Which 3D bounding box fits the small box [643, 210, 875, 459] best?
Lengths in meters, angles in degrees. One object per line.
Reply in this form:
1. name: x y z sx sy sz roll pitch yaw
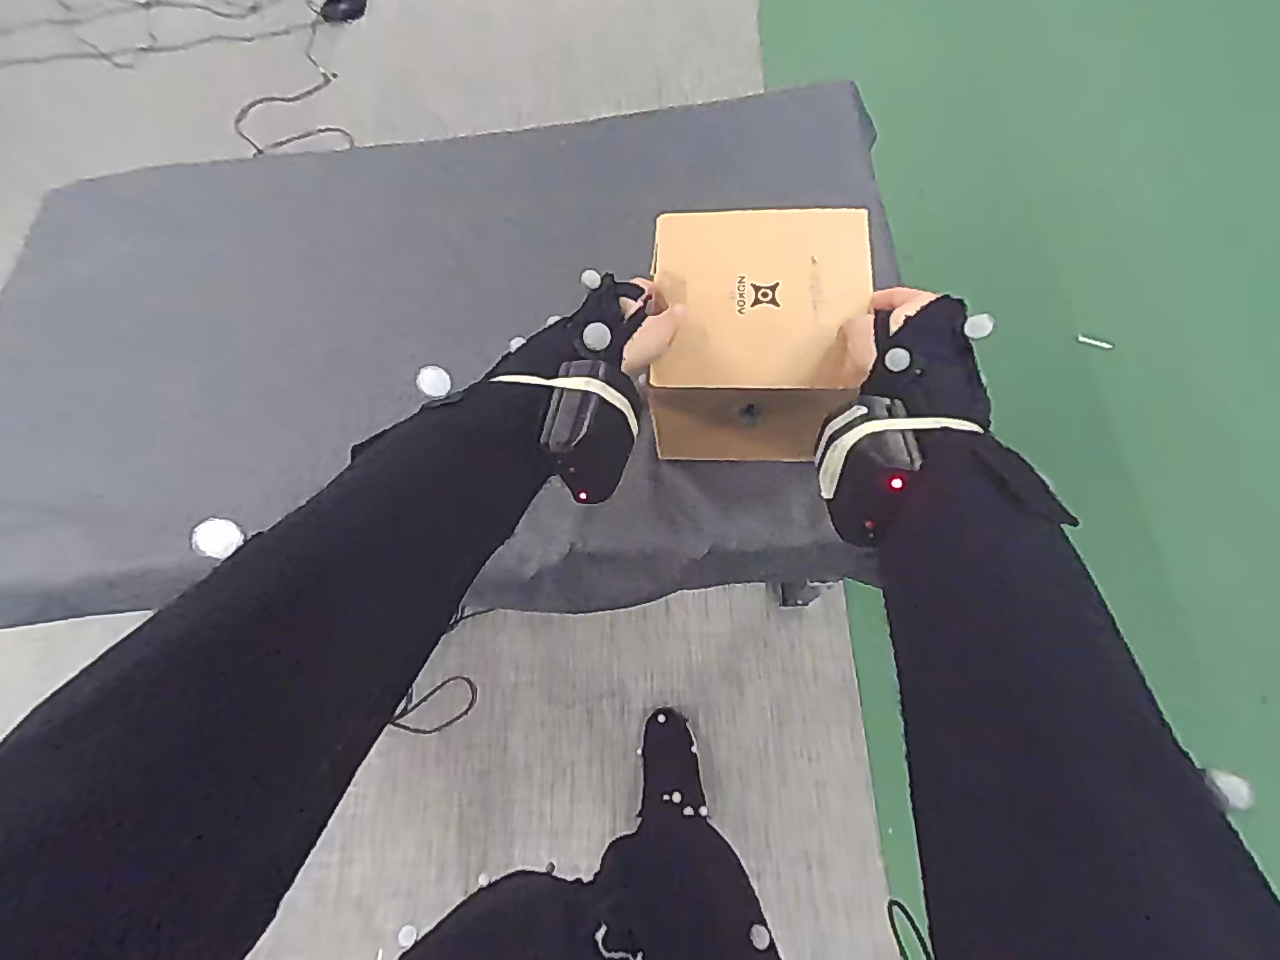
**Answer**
1. small box: 0.101 -0.123 0.507 0.179 0.176 0.168 2 74 6
